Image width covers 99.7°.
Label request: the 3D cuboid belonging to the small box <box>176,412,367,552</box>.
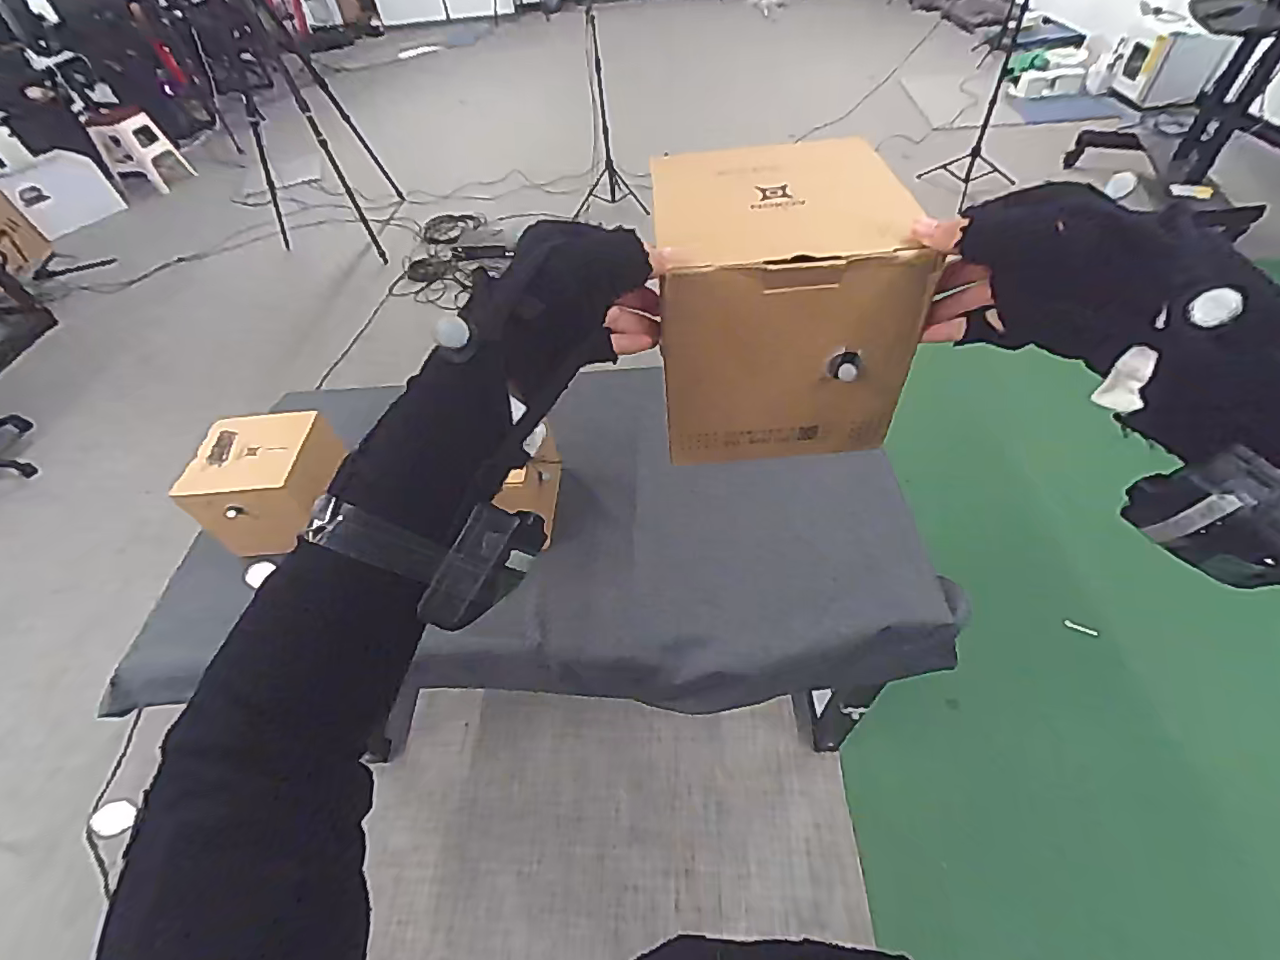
[{"bbox_3d":[-0.599,0.008,0.908,0.179,0.176,0.168,-5,50,1],"label":"small box"}]

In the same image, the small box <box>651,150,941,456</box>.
[{"bbox_3d":[0.098,-0.131,0.425,0.168,0.176,0.179,-4,48,2],"label":"small box"}]

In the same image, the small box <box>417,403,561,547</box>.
[{"bbox_3d":[-0.230,-0.003,0.879,0.168,0.176,0.179,-2,50,5],"label":"small box"}]
